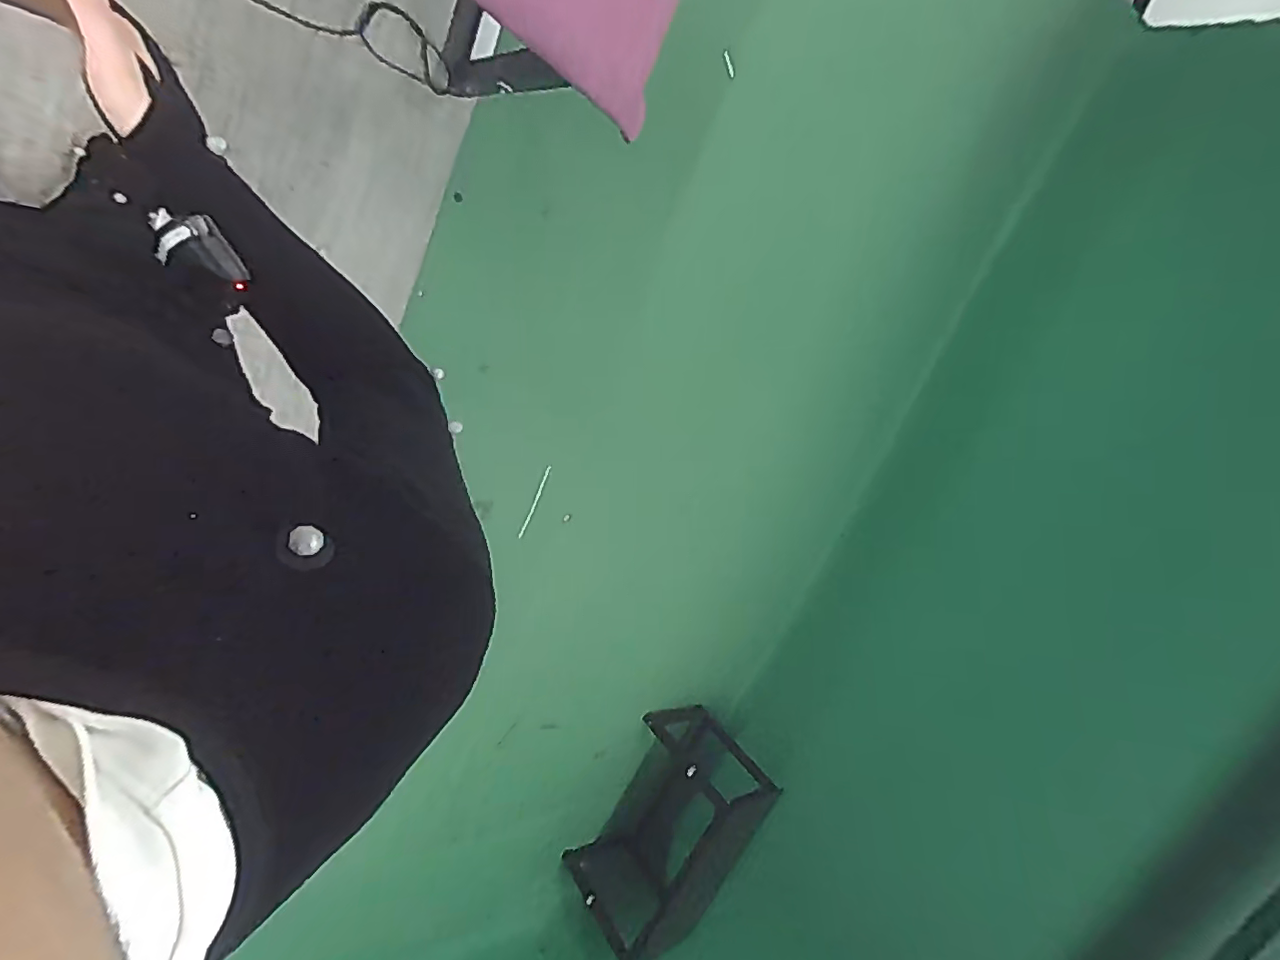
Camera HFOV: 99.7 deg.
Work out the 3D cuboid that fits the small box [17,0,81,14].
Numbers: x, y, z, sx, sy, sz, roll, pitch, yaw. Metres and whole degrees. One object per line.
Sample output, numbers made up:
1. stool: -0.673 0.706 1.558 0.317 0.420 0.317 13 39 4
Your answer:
1. small box: -0.461 -0.435 0.328 0.168 0.176 0.179 -3 117 -45
